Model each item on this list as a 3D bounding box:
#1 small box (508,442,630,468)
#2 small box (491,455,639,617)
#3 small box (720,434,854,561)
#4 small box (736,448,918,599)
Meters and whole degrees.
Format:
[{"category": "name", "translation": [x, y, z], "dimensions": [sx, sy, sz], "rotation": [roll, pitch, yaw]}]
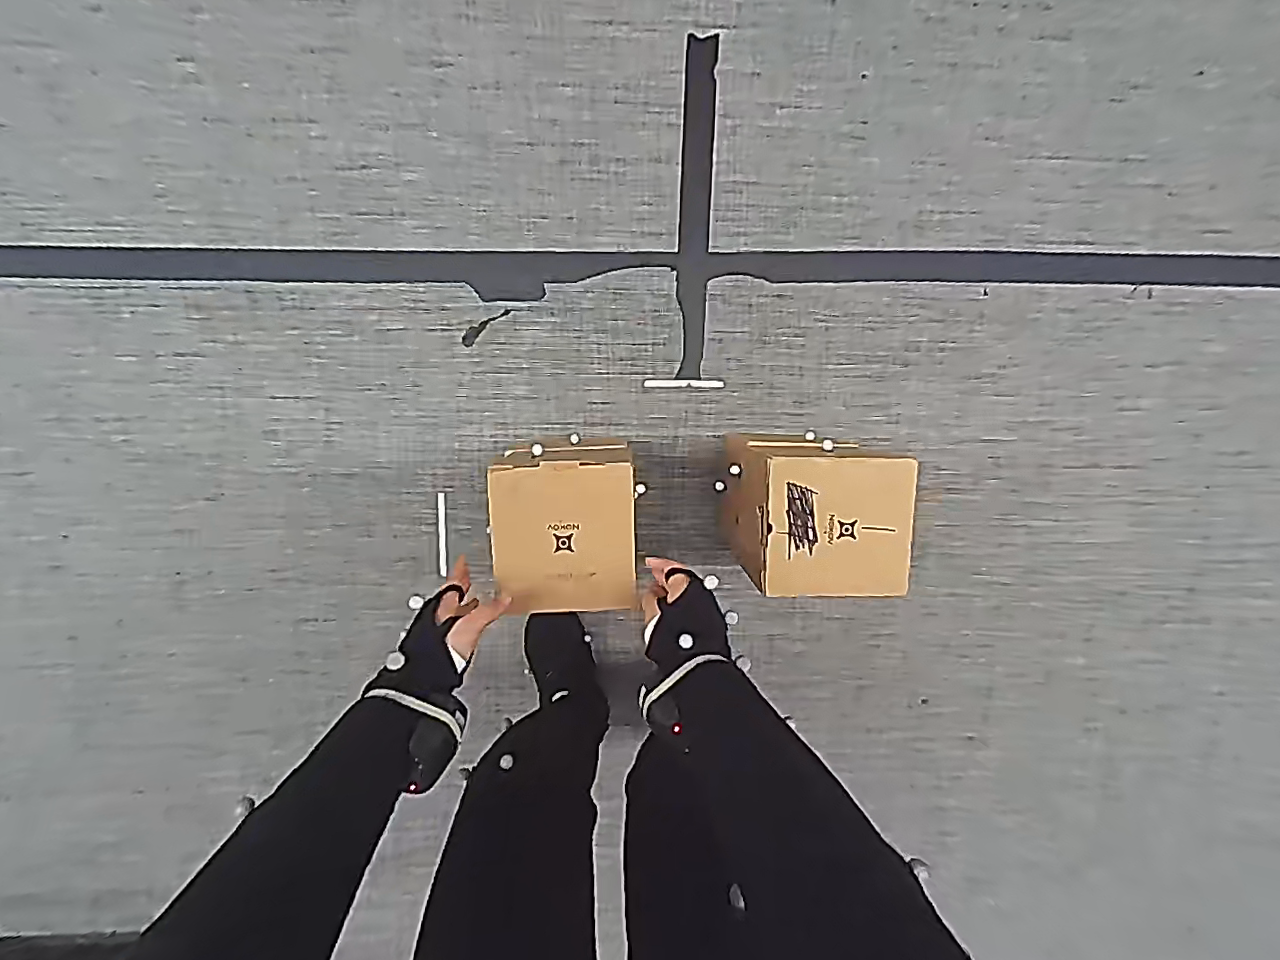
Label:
[{"category": "small box", "translation": [-0.102, 0.029, 0.856], "dimensions": [0.179, 0.176, 0.168], "rotation": [-2, 98, -1]}, {"category": "small box", "translation": [-0.087, 0.060, 0.697], "dimensions": [0.168, 0.176, 0.179], "rotation": [-2, 100, 0]}, {"category": "small box", "translation": [0.227, 0.024, 0.870], "dimensions": [0.168, 0.176, 0.179], "rotation": [1, 100, -2]}, {"category": "small box", "translation": [0.228, 0.048, 0.705], "dimensions": [0.179, 0.176, 0.168], "rotation": [0, 99, -3]}]
